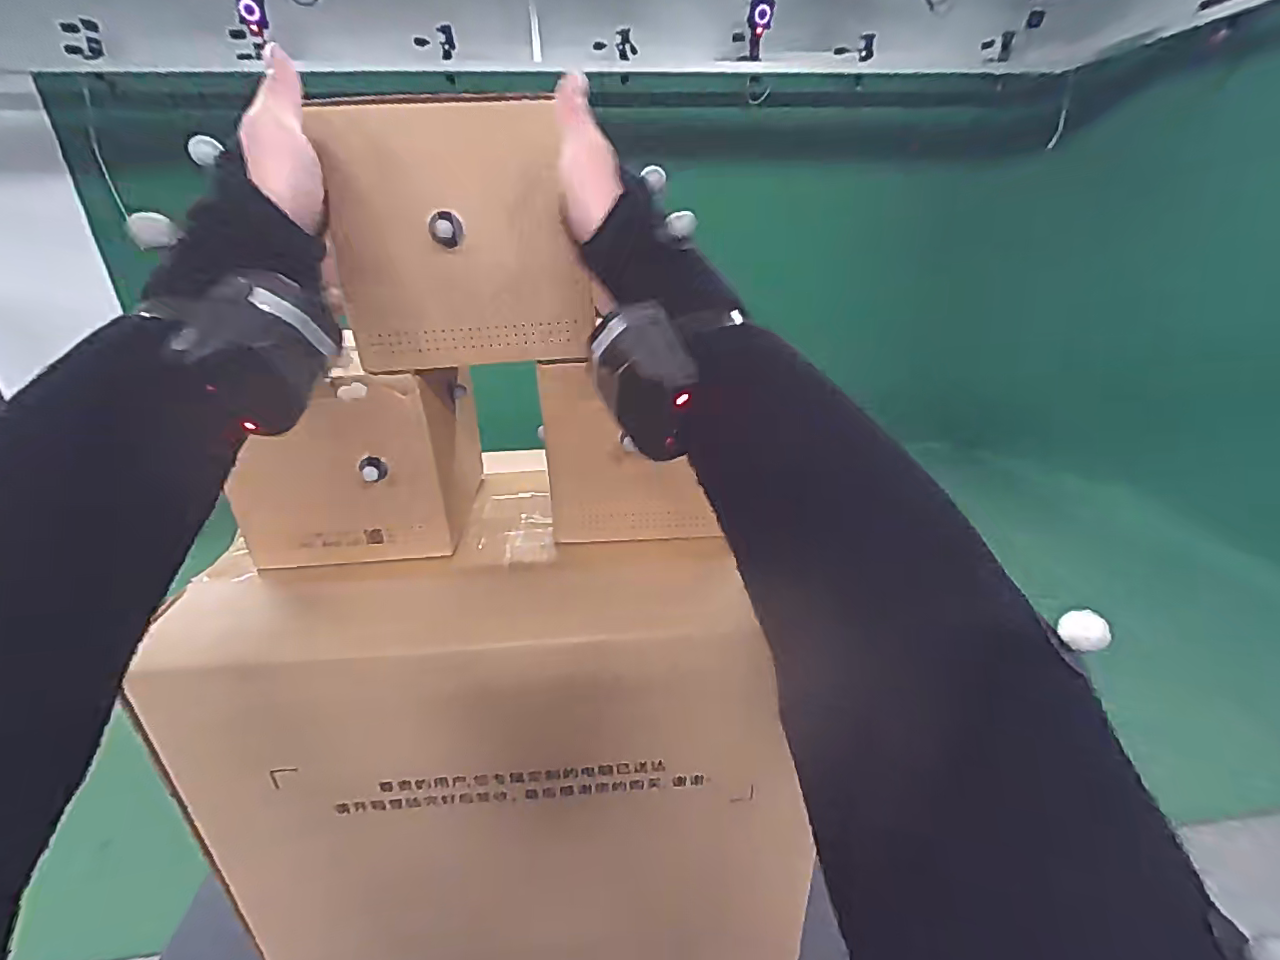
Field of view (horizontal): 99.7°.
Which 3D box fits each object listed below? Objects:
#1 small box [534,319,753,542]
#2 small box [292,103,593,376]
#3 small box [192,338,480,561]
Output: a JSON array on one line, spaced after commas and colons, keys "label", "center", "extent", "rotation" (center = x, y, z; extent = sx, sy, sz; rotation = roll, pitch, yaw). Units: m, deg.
[{"label": "small box", "center": [0.004, -0.052, 0.524], "extent": [0.179, 0.176, 0.168], "rotation": [-4, 27, -2]}, {"label": "small box", "center": [-0.130, -0.190, 0.439], "extent": [0.179, 0.176, 0.168], "rotation": [-6, 26, -5]}, {"label": "small box", "center": [-0.253, -0.034, 0.507], "extent": [0.168, 0.176, 0.179], "rotation": [-2, 25, -5]}]
